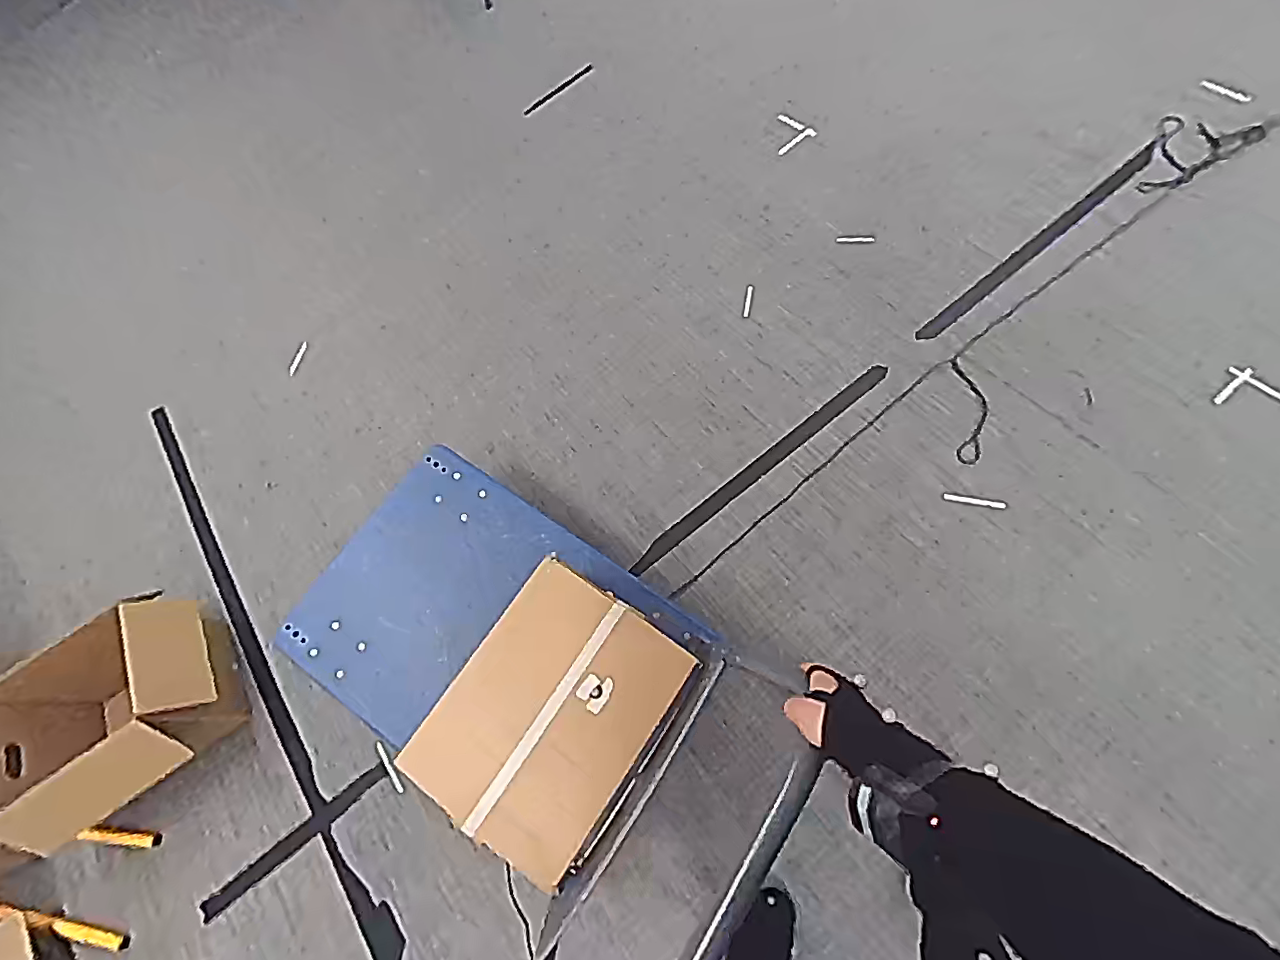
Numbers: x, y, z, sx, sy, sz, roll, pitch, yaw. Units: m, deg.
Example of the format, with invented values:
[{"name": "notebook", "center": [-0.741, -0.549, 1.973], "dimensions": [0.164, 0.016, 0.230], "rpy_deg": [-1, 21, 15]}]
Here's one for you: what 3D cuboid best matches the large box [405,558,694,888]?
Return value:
[{"name": "large box", "center": [-0.141, 0.419, 1.017], "dimensions": [0.320, 0.320, 0.408], "rpy_deg": [33, 75, 9]}]
